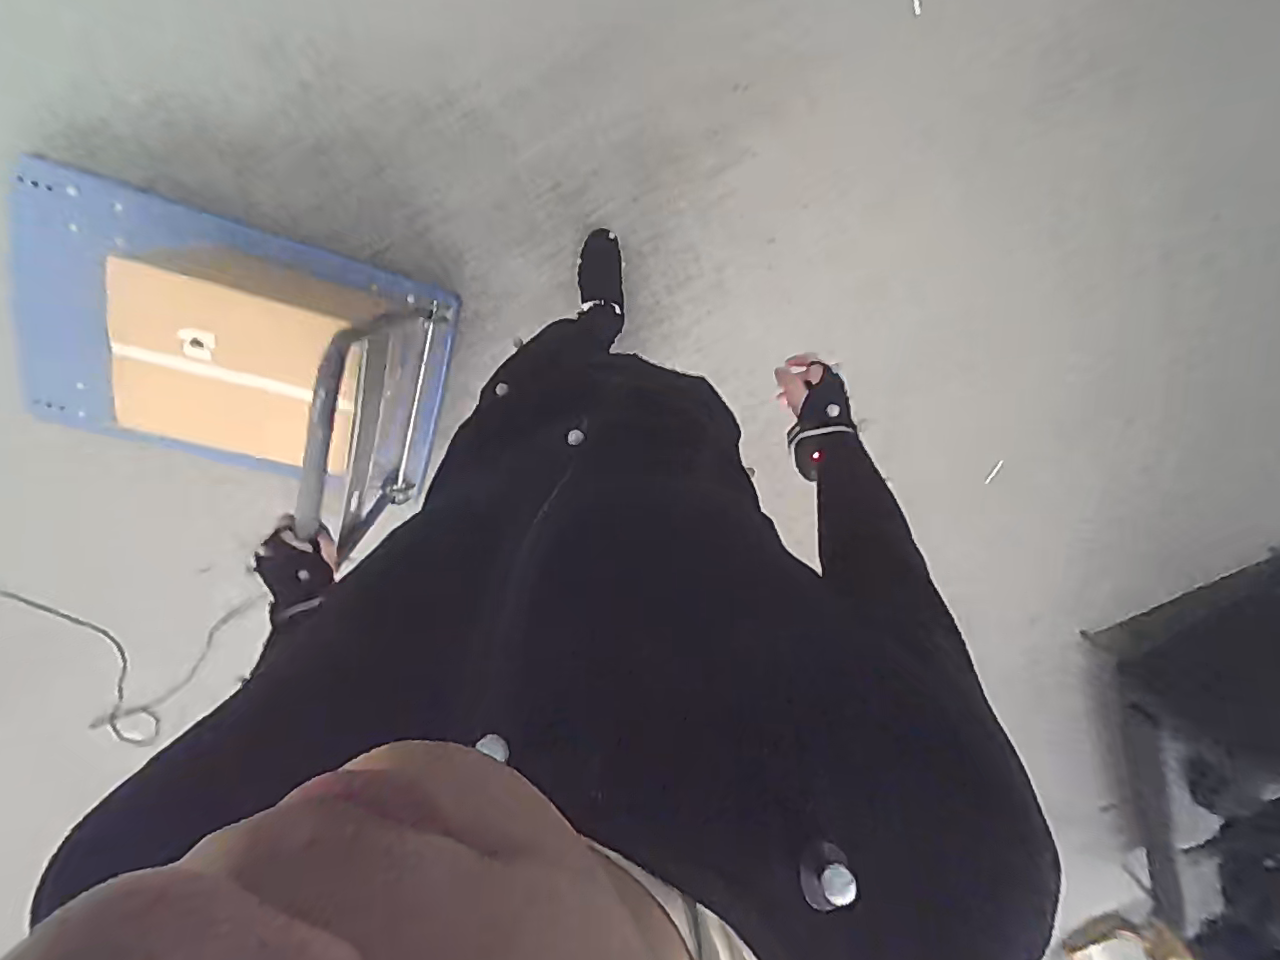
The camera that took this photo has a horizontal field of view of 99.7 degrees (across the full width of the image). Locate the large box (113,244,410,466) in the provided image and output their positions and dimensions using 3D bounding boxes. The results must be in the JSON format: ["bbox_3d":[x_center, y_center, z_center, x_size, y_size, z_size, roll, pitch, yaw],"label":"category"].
[{"bbox_3d":[-0.738,-0.266,1.119,0.408,0.320,0.320,14,112,-13],"label":"large box"}]
